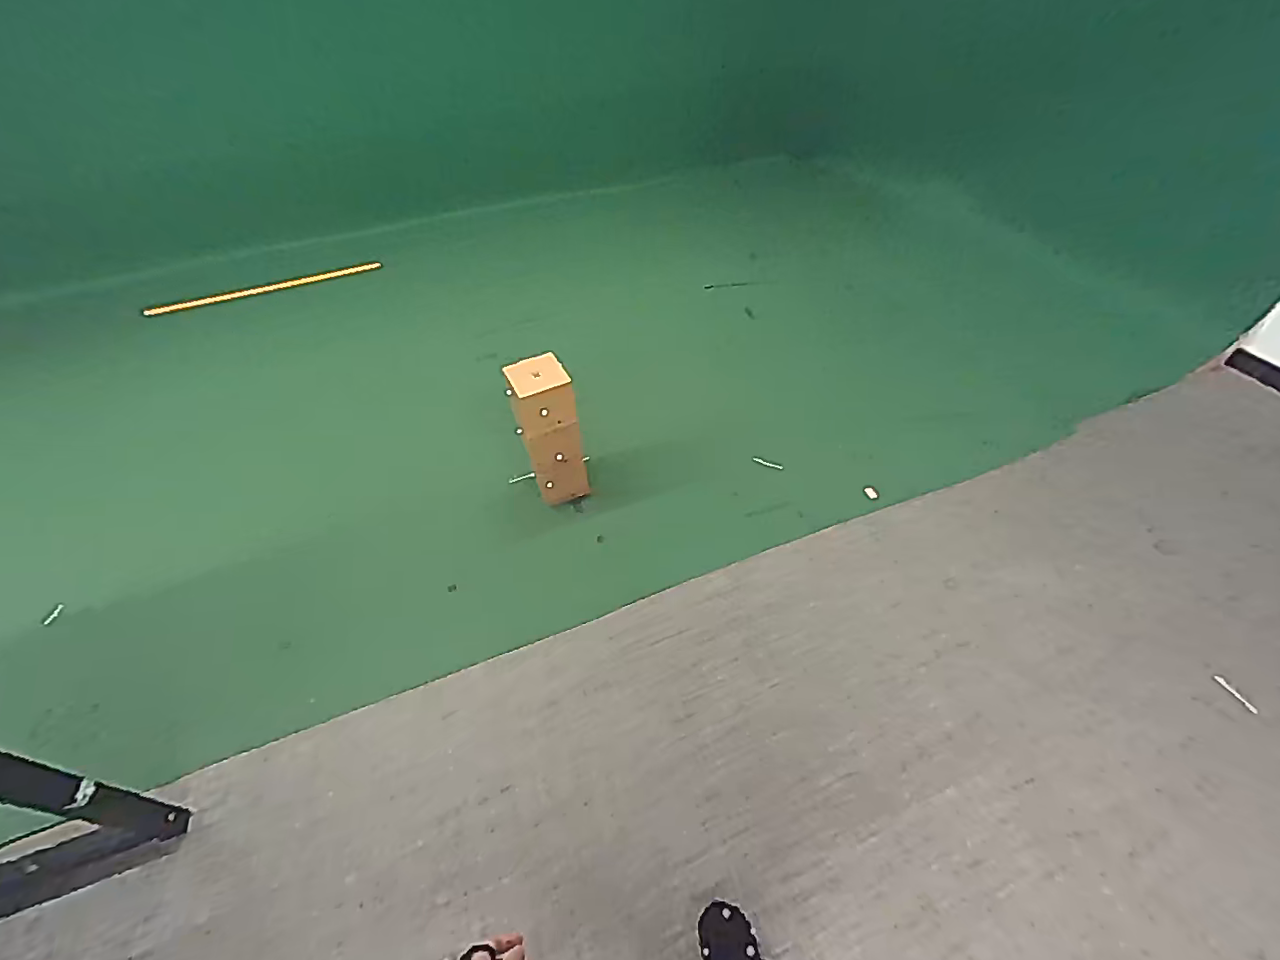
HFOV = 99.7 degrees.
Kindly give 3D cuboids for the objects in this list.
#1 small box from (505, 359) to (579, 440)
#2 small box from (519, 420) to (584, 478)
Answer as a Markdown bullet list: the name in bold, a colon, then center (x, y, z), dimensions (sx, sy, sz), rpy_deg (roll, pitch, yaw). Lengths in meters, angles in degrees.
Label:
- **small box**: center (-0.305, -0.246, 1.706), dimensions (0.168, 0.176, 0.179), rpy_deg (-22, 49, -16)
- **small box**: center (-0.300, -0.138, 1.826), dimensions (0.168, 0.176, 0.179), rpy_deg (-20, 49, -14)
